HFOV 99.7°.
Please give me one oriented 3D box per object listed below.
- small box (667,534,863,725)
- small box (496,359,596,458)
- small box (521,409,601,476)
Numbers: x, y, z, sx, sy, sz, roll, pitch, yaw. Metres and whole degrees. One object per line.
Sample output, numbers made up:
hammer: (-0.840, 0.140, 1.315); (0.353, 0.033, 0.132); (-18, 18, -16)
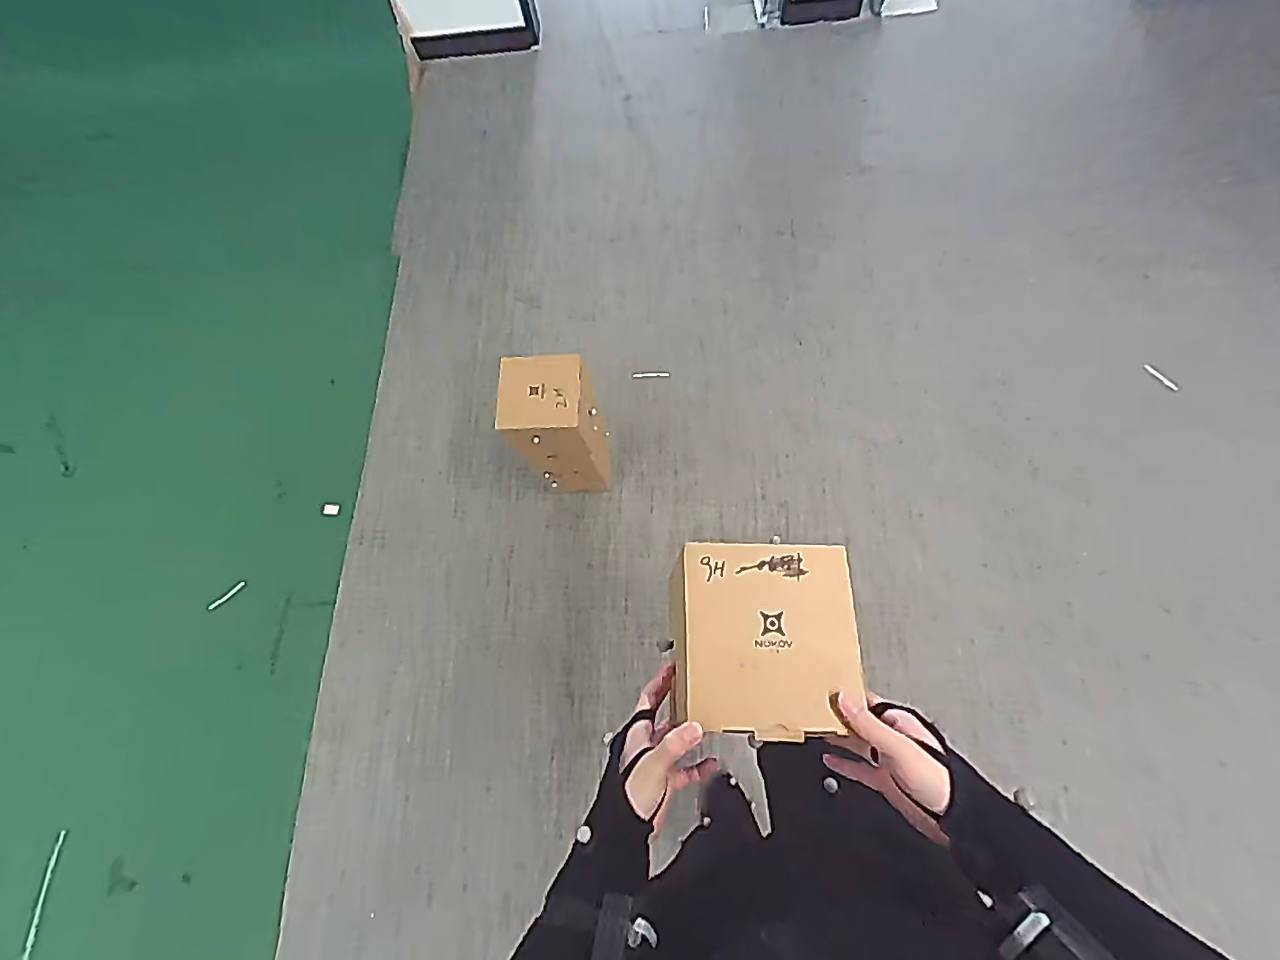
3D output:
small box: (0.121, 0.167, 0.594); (0.168, 0.176, 0.179); (2, 68, -3)
small box: (-0.200, -0.151, 1.195); (0.179, 0.176, 0.168); (-1, 72, 4)
small box: (-0.191, -0.112, 1.355); (0.168, 0.176, 0.179); (-2, 72, 4)
